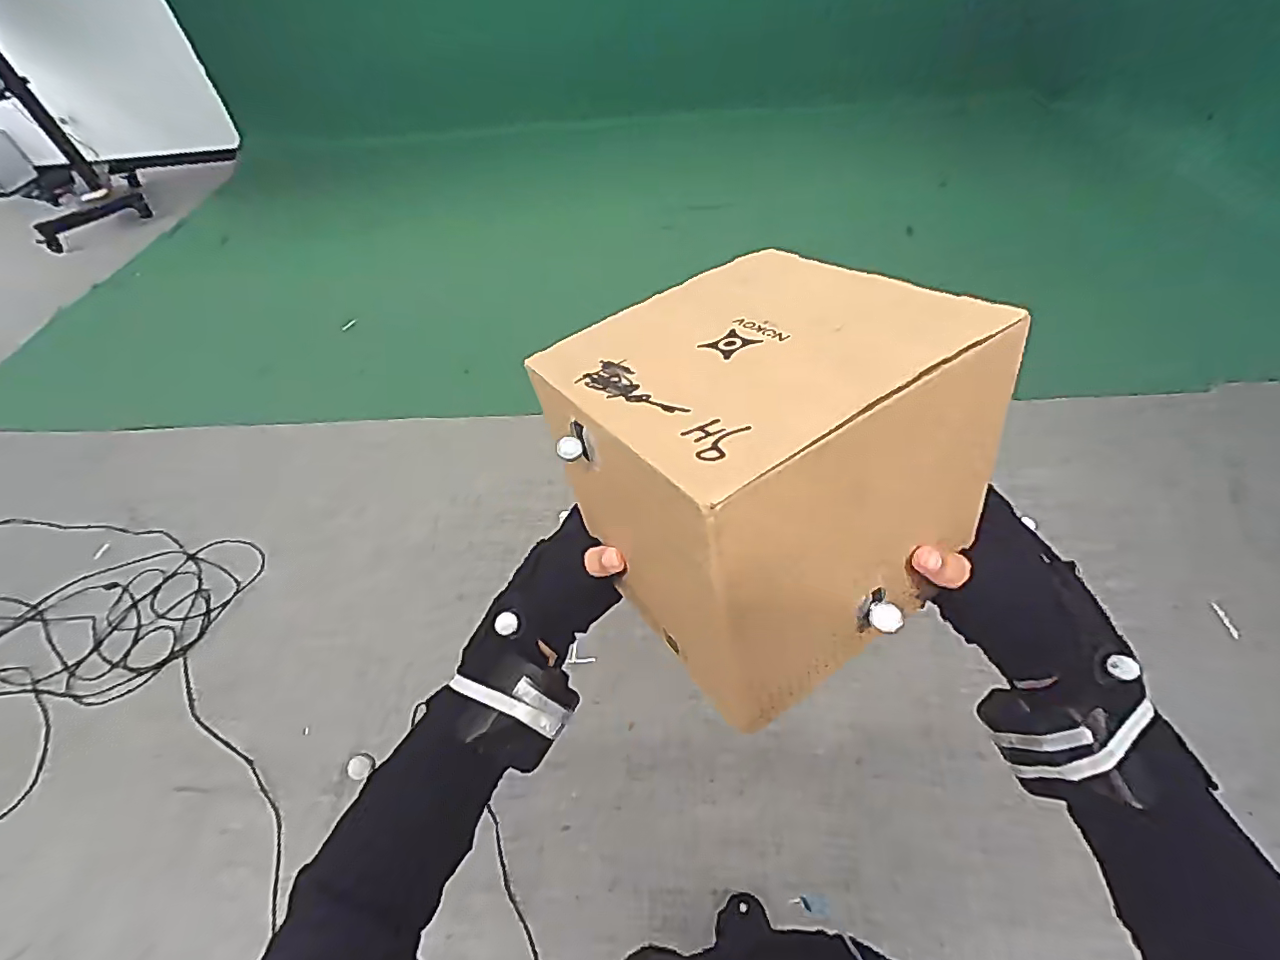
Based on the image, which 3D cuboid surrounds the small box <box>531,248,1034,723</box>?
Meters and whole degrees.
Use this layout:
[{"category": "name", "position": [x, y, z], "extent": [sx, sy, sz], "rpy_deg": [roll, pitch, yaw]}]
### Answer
[{"category": "small box", "position": [0.067, -0.008, 0.306], "extent": [0.179, 0.176, 0.168], "rpy_deg": [-29, 41, -18]}]
